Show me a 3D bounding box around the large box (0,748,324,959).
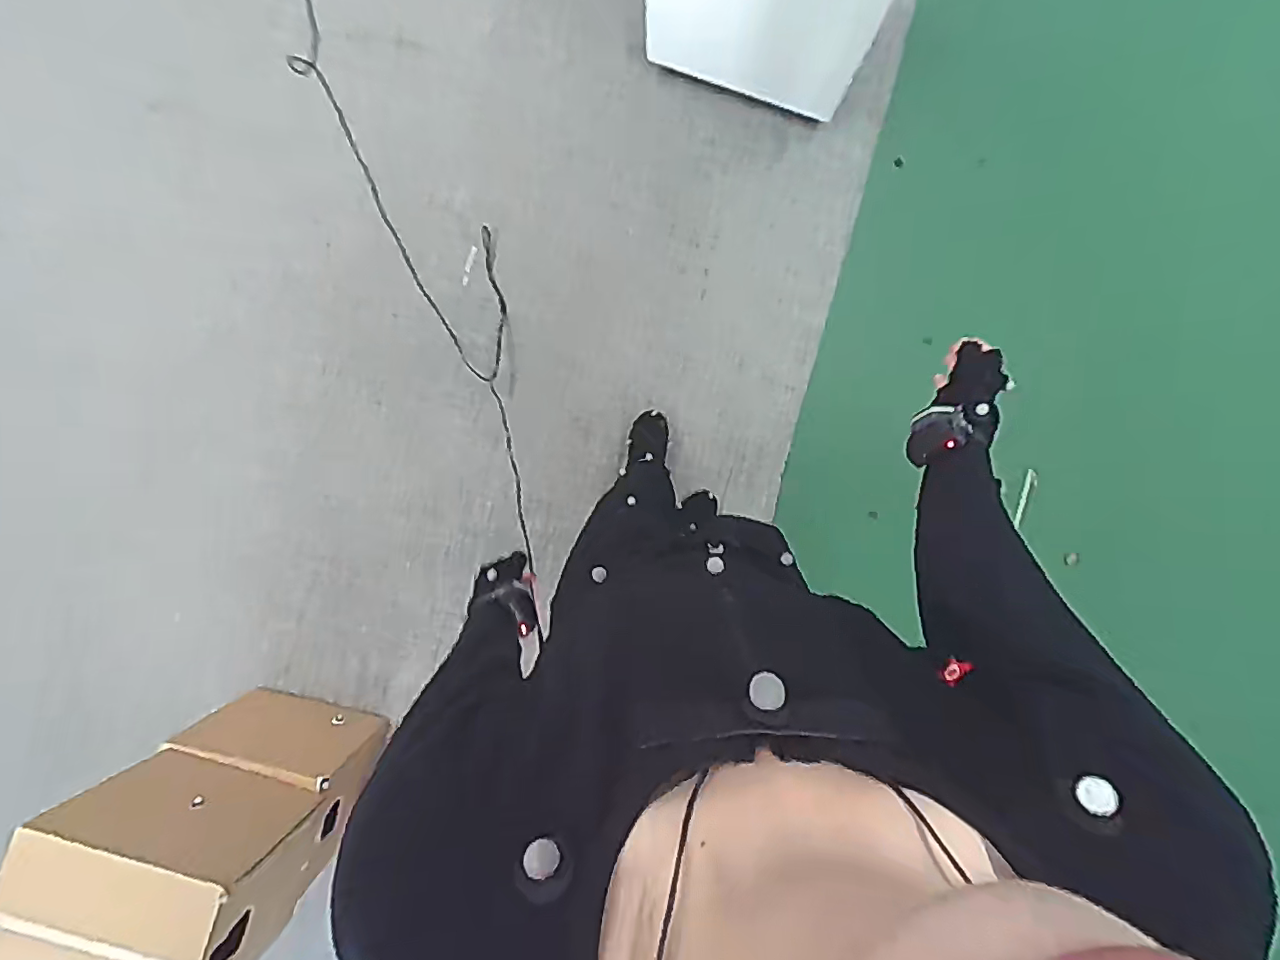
[{"bbox_3d":[-0.965,0.812,1.111,0.408,0.320,0.320,16,88,1],"label":"large box"}]
